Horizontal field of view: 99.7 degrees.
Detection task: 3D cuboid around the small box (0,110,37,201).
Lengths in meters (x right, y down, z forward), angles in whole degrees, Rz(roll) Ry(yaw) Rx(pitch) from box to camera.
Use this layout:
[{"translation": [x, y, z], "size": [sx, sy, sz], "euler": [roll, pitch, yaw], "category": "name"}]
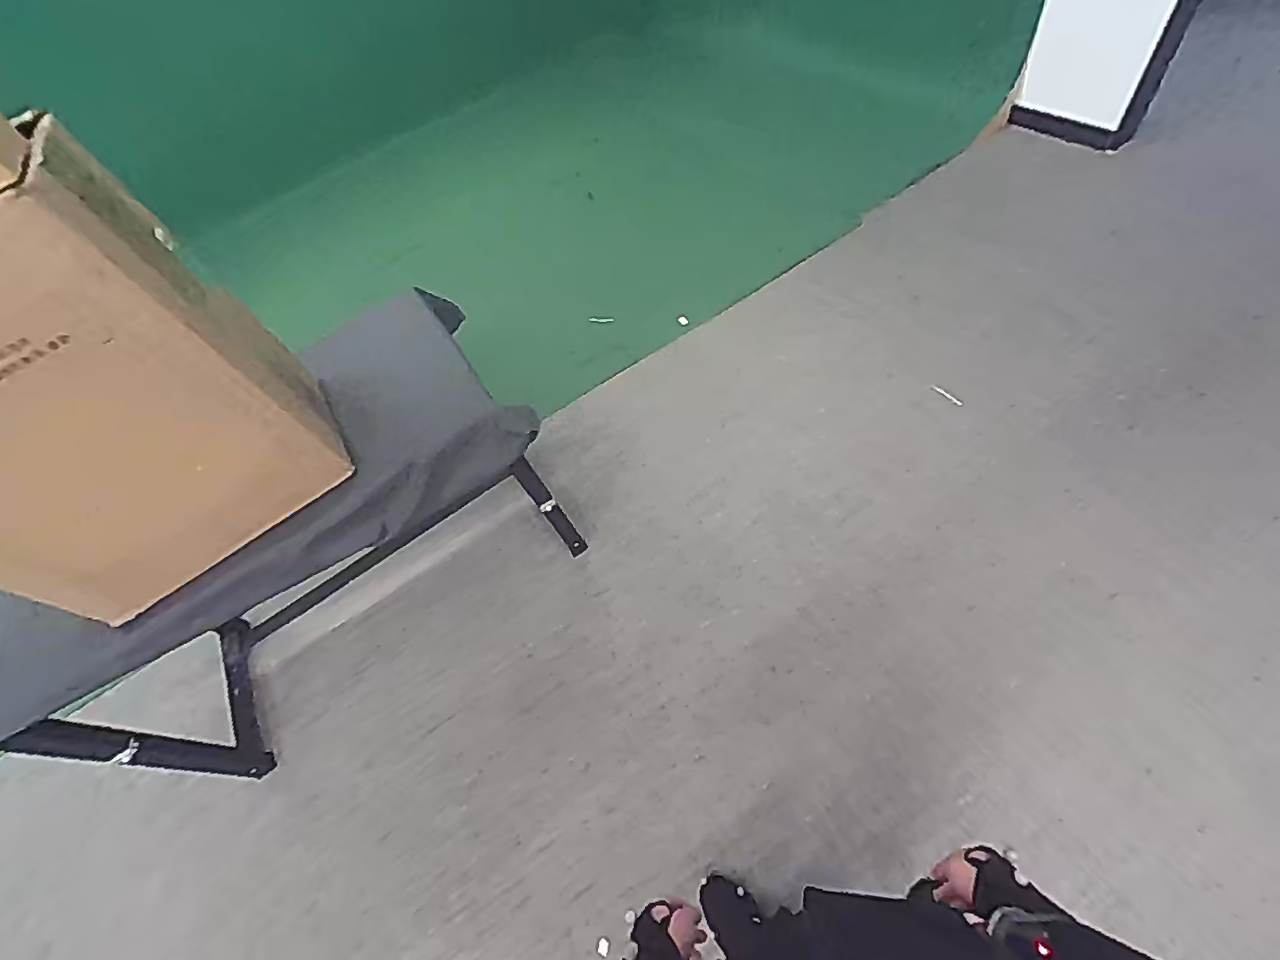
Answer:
[{"translation": [-0.864, -0.410, 0.621], "size": [0.168, 0.176, 0.179], "euler": [-35, 56, -10], "category": "small box"}]
